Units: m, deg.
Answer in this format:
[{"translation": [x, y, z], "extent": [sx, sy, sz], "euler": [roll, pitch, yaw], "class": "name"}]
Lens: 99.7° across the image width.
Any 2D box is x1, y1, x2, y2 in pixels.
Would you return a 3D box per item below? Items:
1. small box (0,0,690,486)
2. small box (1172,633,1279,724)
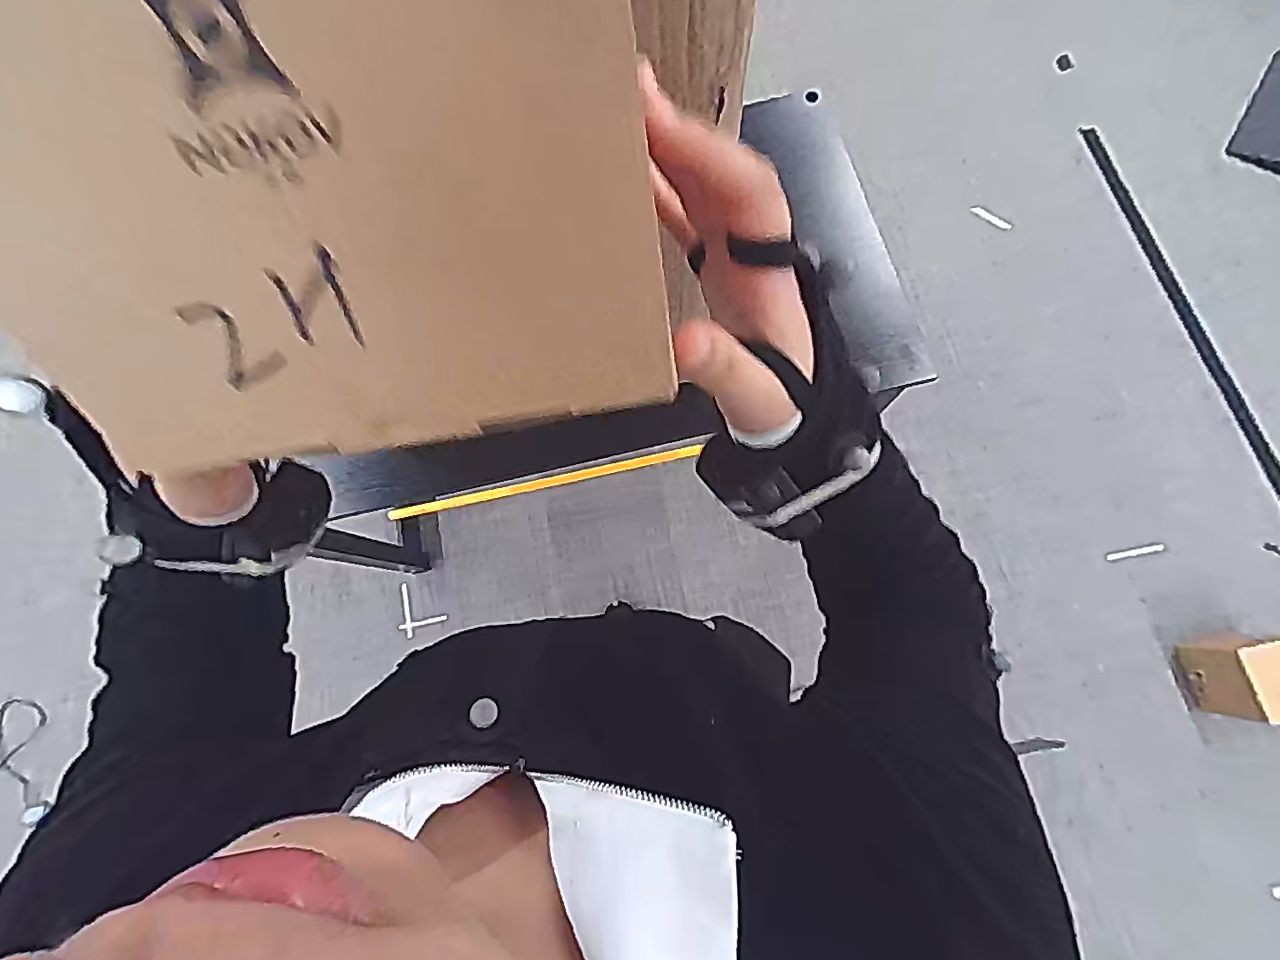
[{"translation": [-0.080, -0.125, 0.180], "extent": [0.168, 0.179, 0.176], "euler": [-8, 36, 3], "class": "small box"}, {"translation": [1.458, 0.466, 1.294], "extent": [0.179, 0.176, 0.168], "euler": [-13, 75, 2], "class": "small box"}]
